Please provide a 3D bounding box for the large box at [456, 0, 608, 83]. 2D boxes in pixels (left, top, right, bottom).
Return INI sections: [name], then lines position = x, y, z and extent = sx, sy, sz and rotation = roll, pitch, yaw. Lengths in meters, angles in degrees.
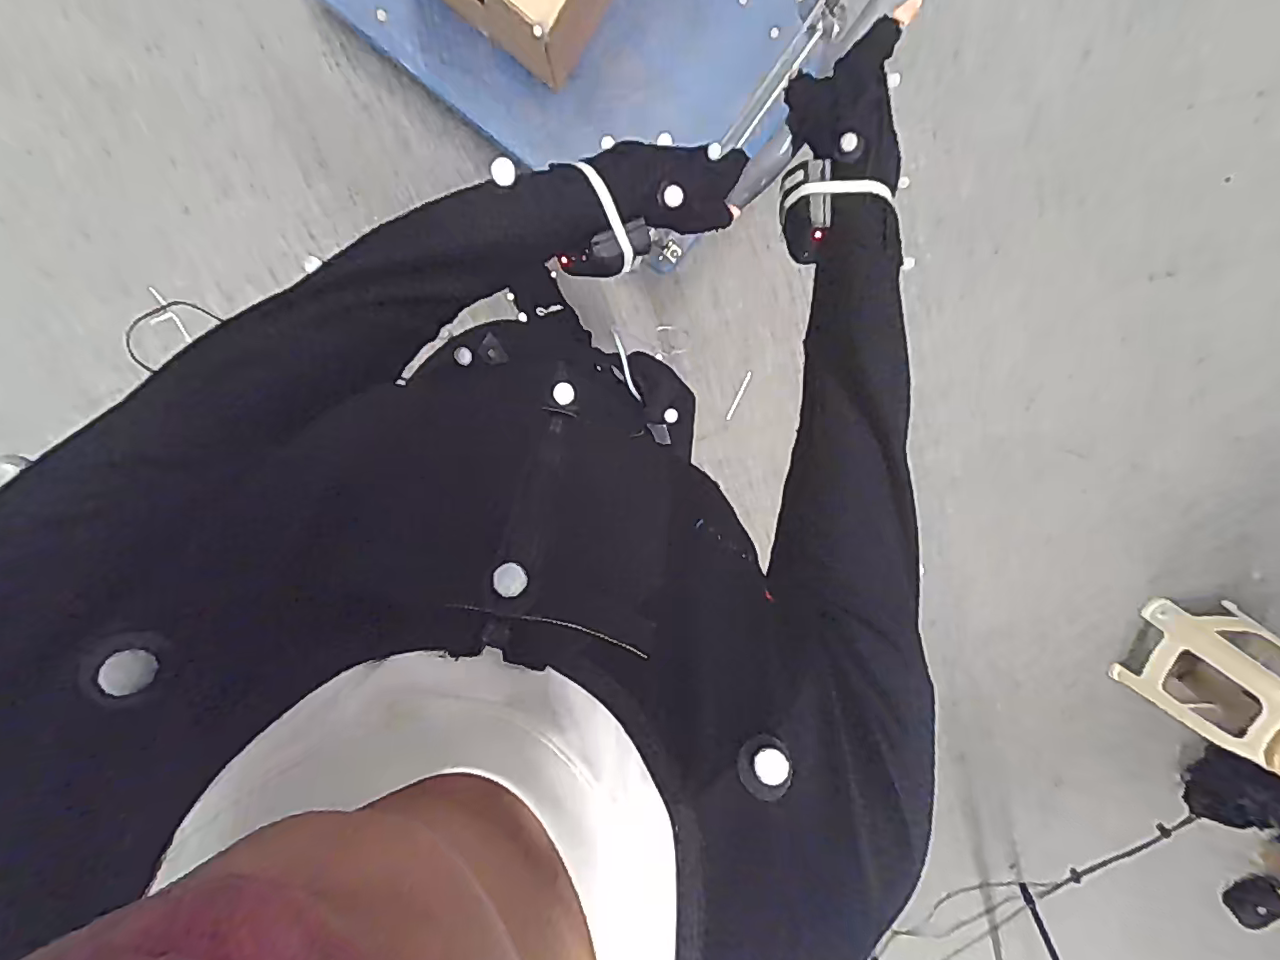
[large box]
position = -0.150, -0.912, 0.788
extent = 0.320, 0.320, 0.408
rotation = 32, 108, -15
